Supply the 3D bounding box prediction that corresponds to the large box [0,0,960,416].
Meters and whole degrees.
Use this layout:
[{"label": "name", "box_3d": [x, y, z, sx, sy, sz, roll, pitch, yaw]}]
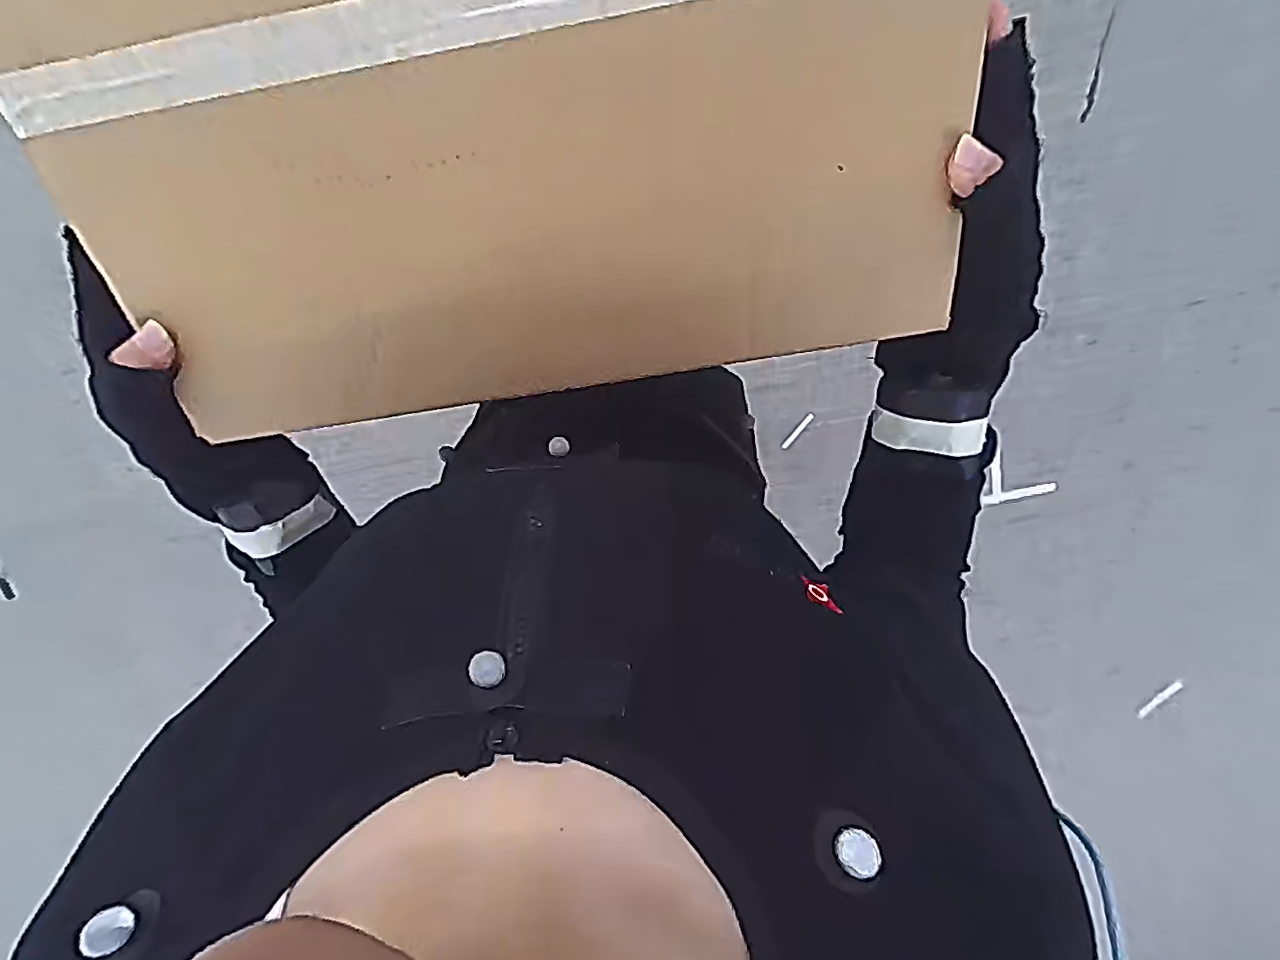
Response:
[{"label": "large box", "box_3d": [-0.068, -0.268, 0.358, 0.408, 0.320, 0.320, -9, 119, 3]}]
